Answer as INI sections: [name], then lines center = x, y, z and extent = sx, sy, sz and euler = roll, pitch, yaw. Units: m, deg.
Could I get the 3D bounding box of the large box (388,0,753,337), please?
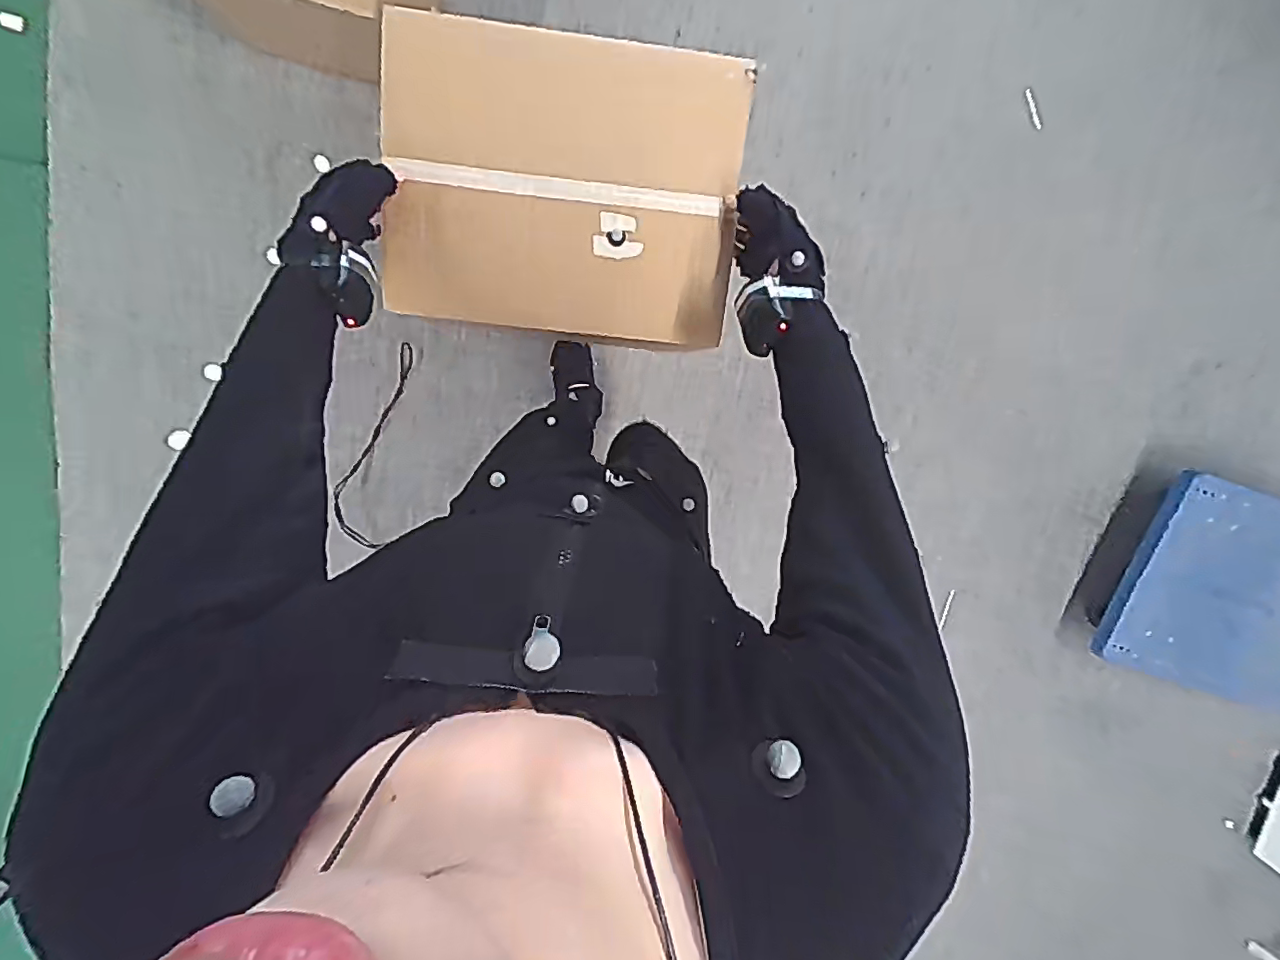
[large box]
center = -0.095, -0.381, 0.764
extent = 0.408, 0.320, 0.320
euler = 5, 103, -5
